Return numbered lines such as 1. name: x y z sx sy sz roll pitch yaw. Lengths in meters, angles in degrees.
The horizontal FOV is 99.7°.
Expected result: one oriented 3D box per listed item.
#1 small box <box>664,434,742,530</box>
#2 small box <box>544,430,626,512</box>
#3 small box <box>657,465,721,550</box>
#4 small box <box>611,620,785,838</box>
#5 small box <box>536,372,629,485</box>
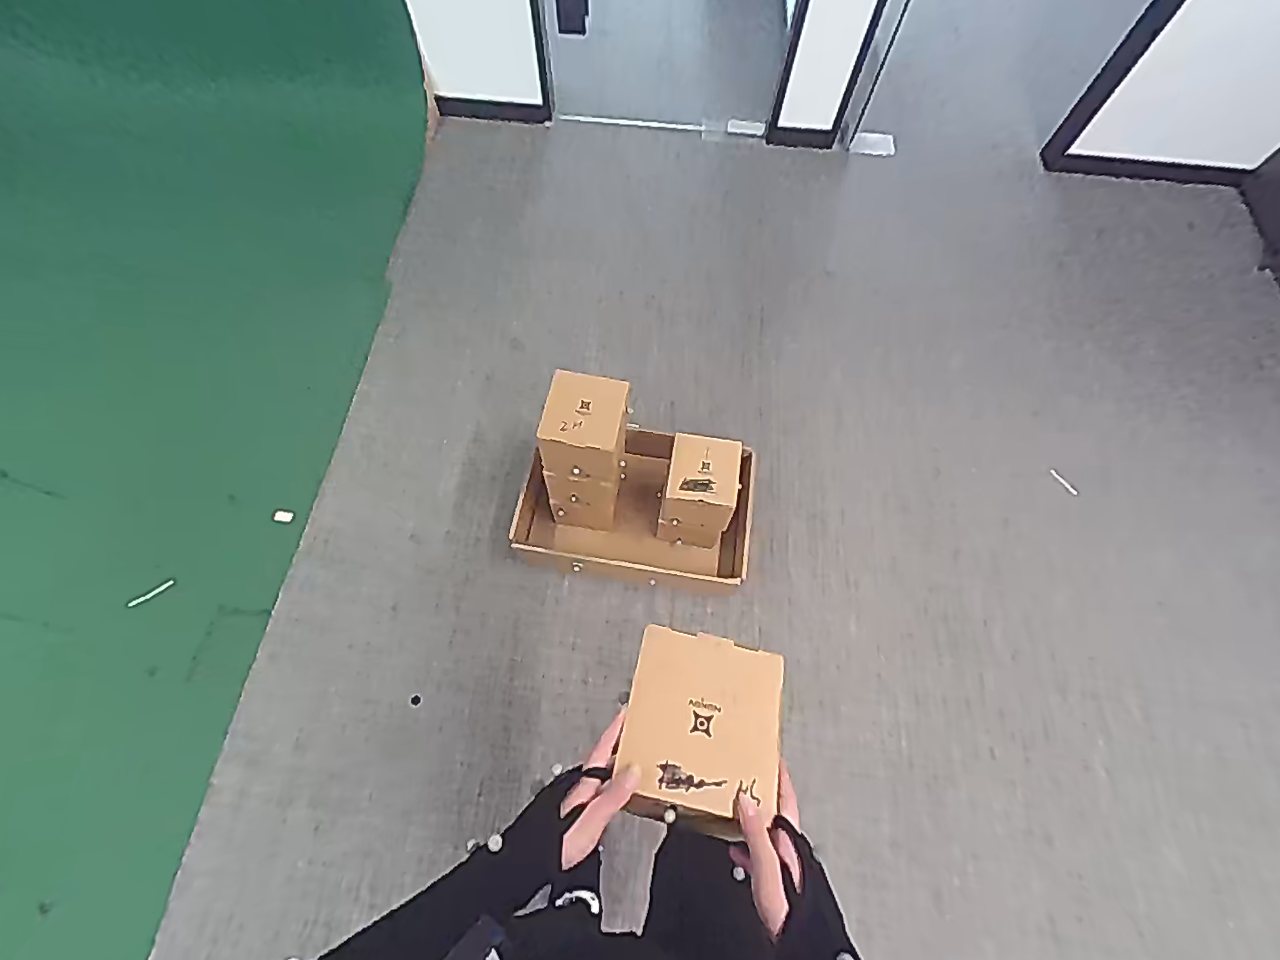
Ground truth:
1. small box: 0.152 0.012 1.344 0.168 0.176 0.179 9 65 4
2. small box: -0.135 -0.039 1.360 0.168 0.176 0.179 10 65 2
3. small box: 0.141 0.078 1.494 0.168 0.176 0.179 9 67 4
4. small box: 0.064 0.296 0.638 0.168 0.176 0.179 12 52 5
5. small box: -0.123 -0.111 1.212 0.168 0.176 0.179 10 65 2
